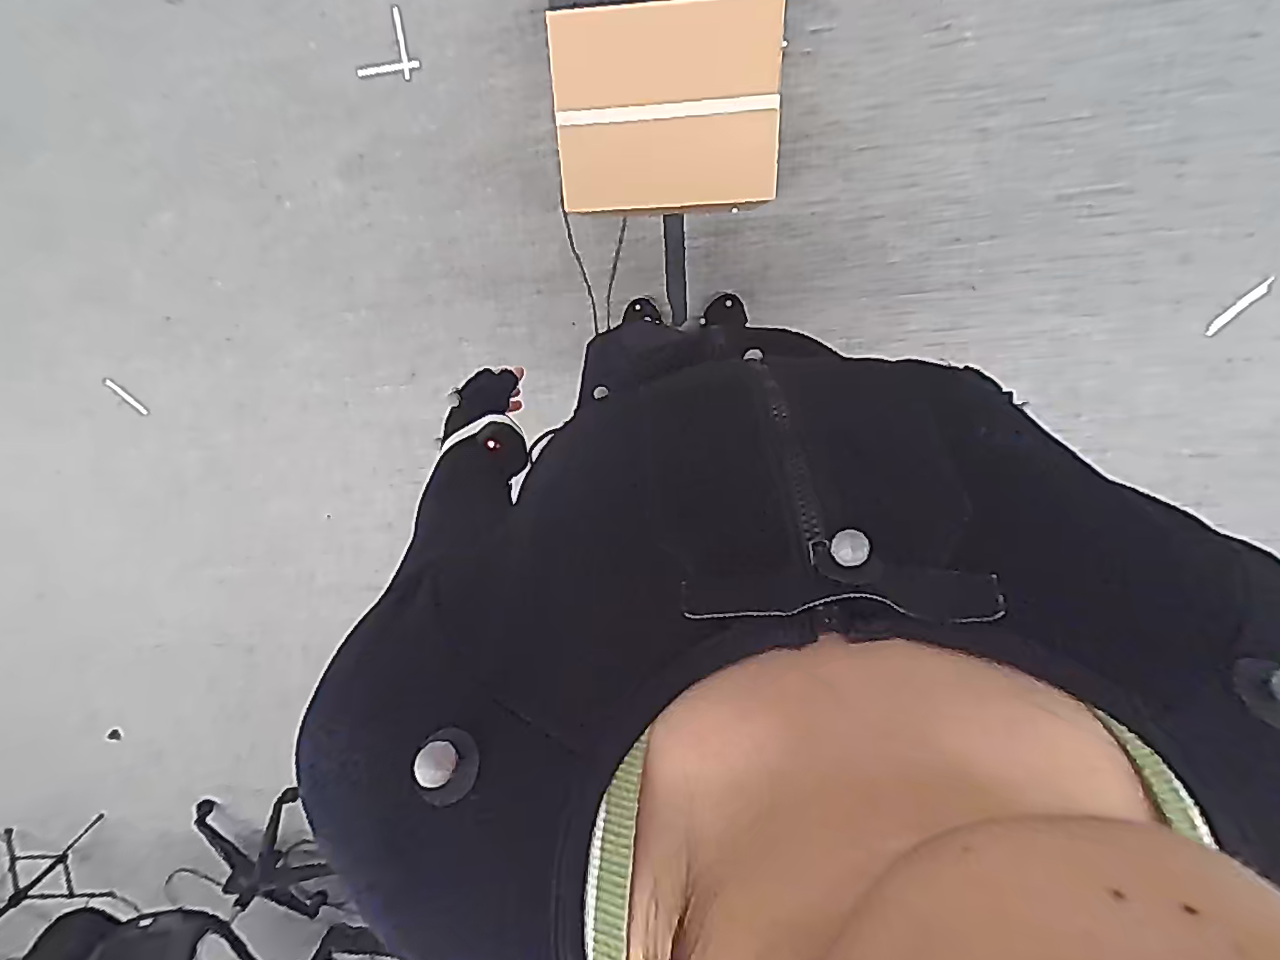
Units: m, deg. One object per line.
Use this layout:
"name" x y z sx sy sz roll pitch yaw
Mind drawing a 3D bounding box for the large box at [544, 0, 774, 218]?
"large box" 0.048 -0.725 1.115 0.408 0.320 0.320 -1 113 4

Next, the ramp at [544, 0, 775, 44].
"ramp" 0.015 -1.285 0.991 0.509 0.206 0.991 -5 109 4
